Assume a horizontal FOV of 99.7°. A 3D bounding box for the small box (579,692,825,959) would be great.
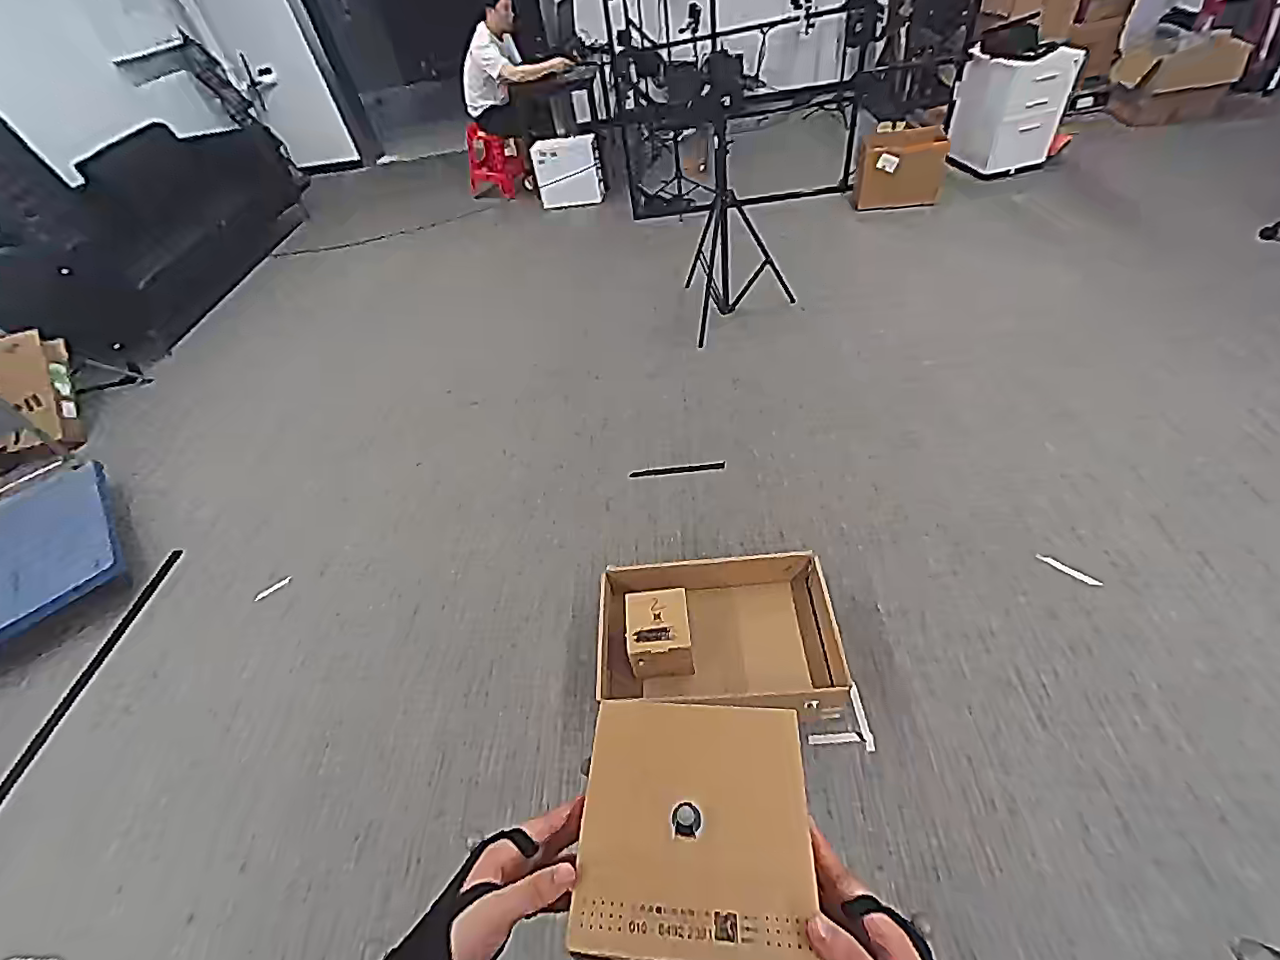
[{"bbox_3d":[0.050,0.299,0.453,0.168,0.179,0.176,0,44,8],"label":"small box"}]
